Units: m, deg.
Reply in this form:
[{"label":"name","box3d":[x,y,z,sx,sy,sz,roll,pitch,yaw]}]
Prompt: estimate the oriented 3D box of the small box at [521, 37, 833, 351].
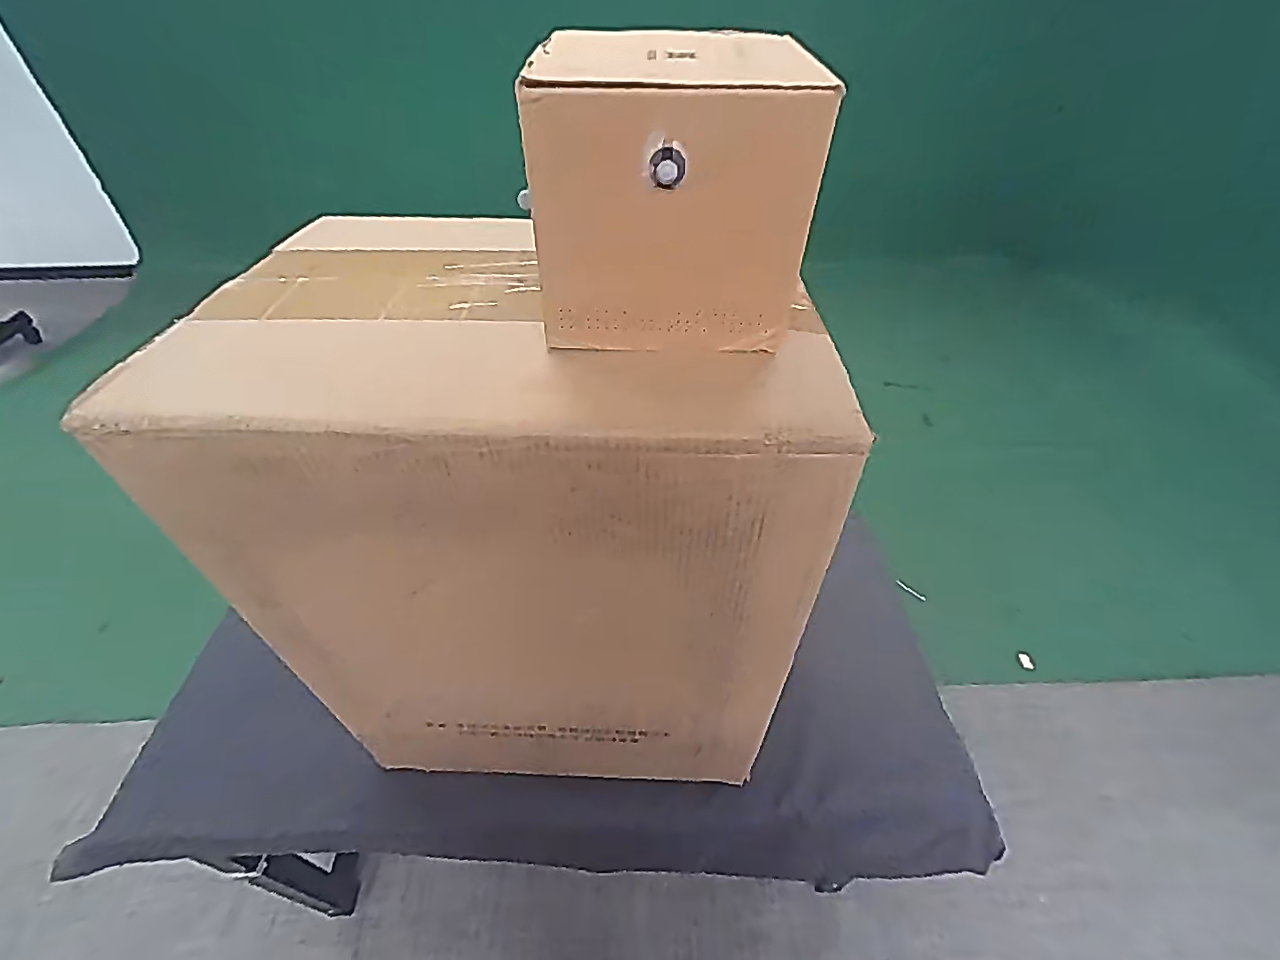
[{"label":"small box","box3d":[0.020,-0.212,0.407,0.179,0.176,0.168,2,47,-1]}]
